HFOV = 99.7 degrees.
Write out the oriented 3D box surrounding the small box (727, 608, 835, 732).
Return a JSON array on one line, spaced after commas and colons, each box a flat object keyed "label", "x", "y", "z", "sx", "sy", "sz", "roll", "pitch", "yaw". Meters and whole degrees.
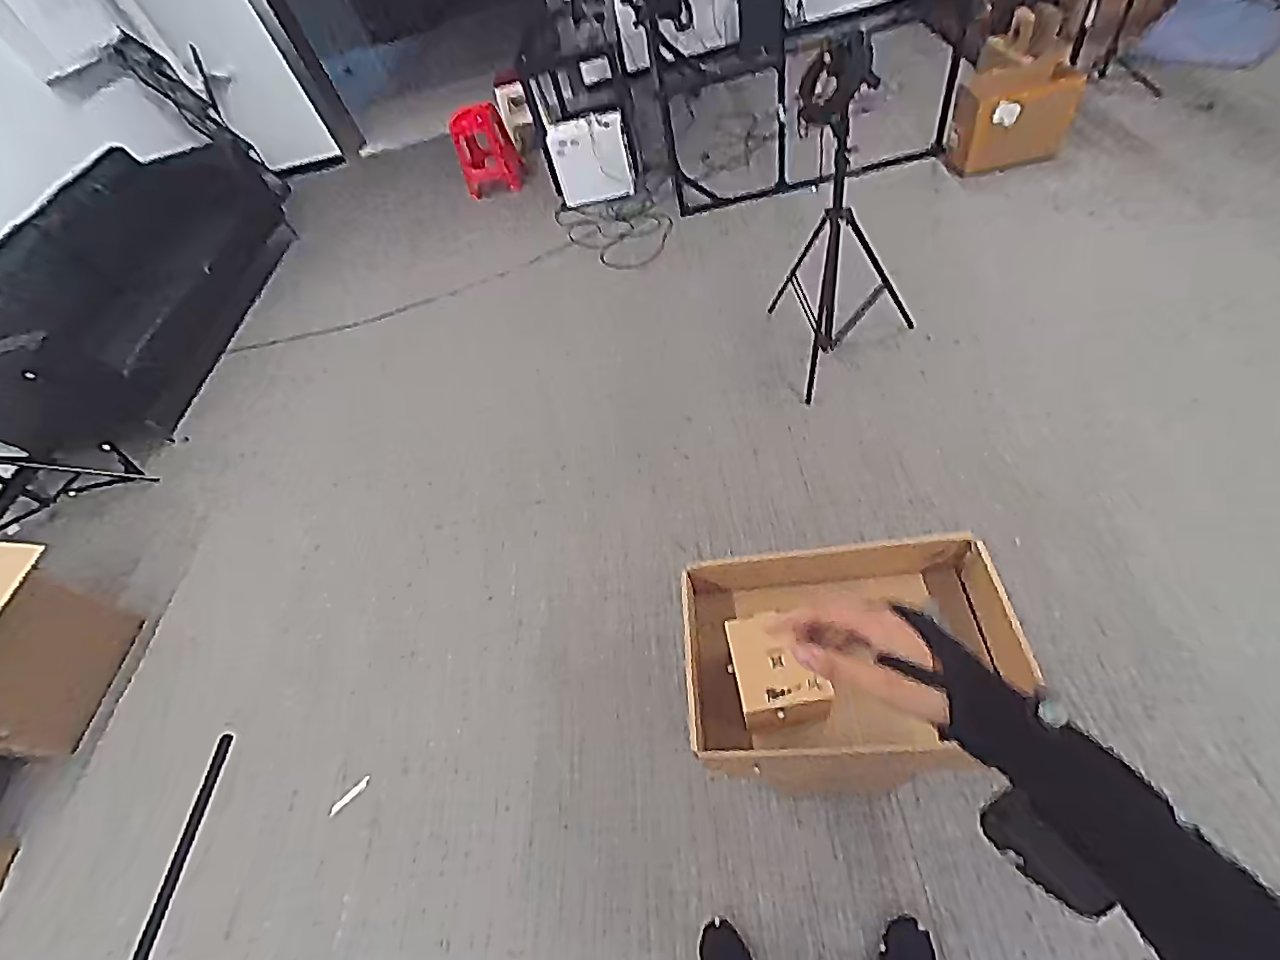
[{"label": "small box", "x": 0.274, "y": 0.381, "z": 1.077, "sx": 0.168, "sy": 0.176, "sz": 0.179, "roll": -13, "pitch": 52, "yaw": 6}]
